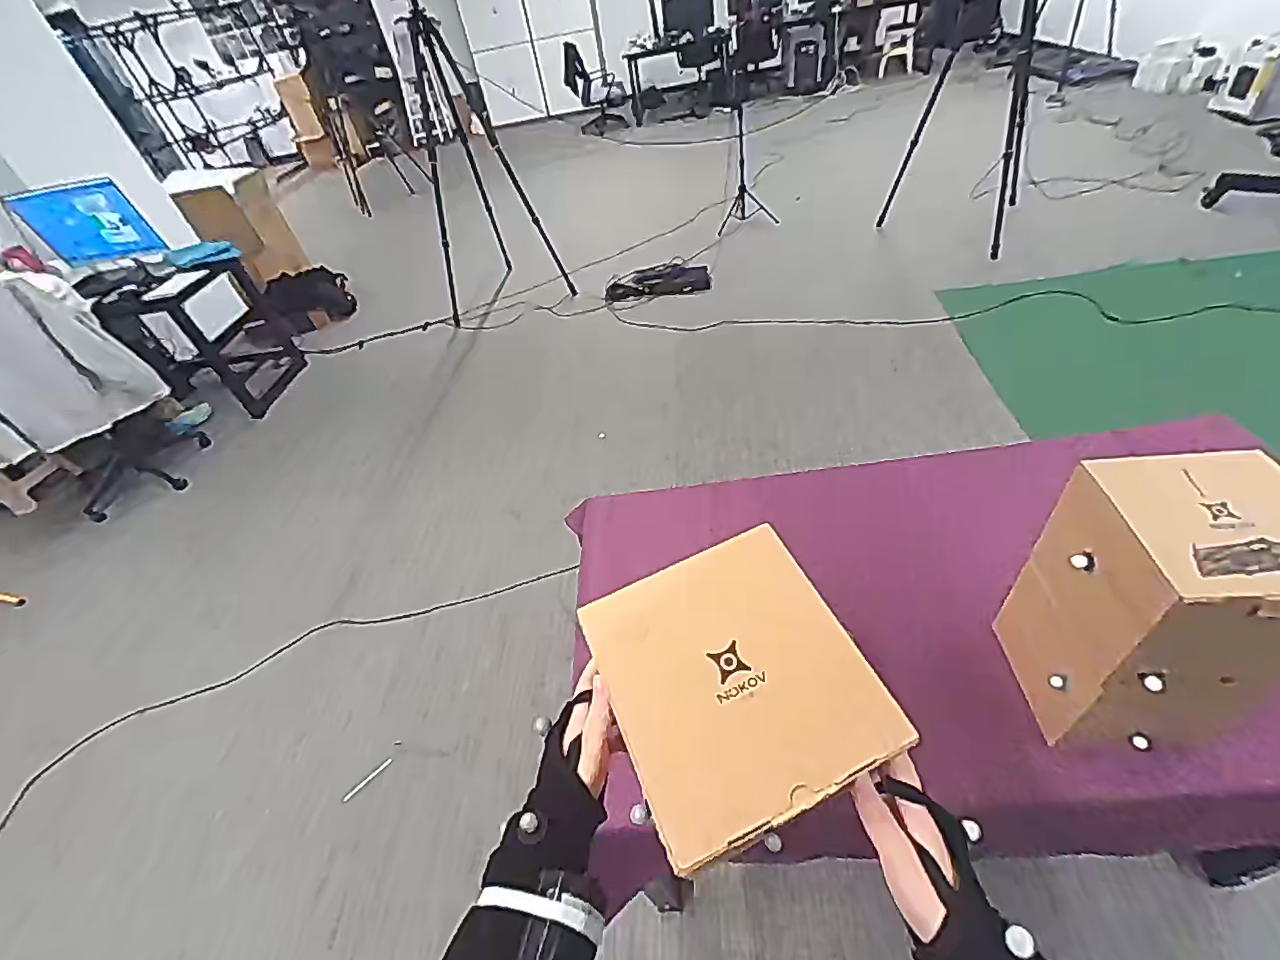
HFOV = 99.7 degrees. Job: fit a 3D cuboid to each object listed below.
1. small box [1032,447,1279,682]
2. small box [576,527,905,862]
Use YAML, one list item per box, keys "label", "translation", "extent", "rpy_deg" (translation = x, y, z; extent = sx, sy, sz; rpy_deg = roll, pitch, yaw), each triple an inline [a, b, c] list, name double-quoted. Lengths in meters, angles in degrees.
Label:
- label: "small box"
  translation: [0.544, 0.091, 0.550]
  extent: [0.168, 0.176, 0.179]
  rpy_deg: [-5, 43, 10]
- label: "small box"
  translation: [0.064, 0.173, 0.431]
  extent: [0.168, 0.176, 0.179]
  rpy_deg: [-23, 55, -9]
